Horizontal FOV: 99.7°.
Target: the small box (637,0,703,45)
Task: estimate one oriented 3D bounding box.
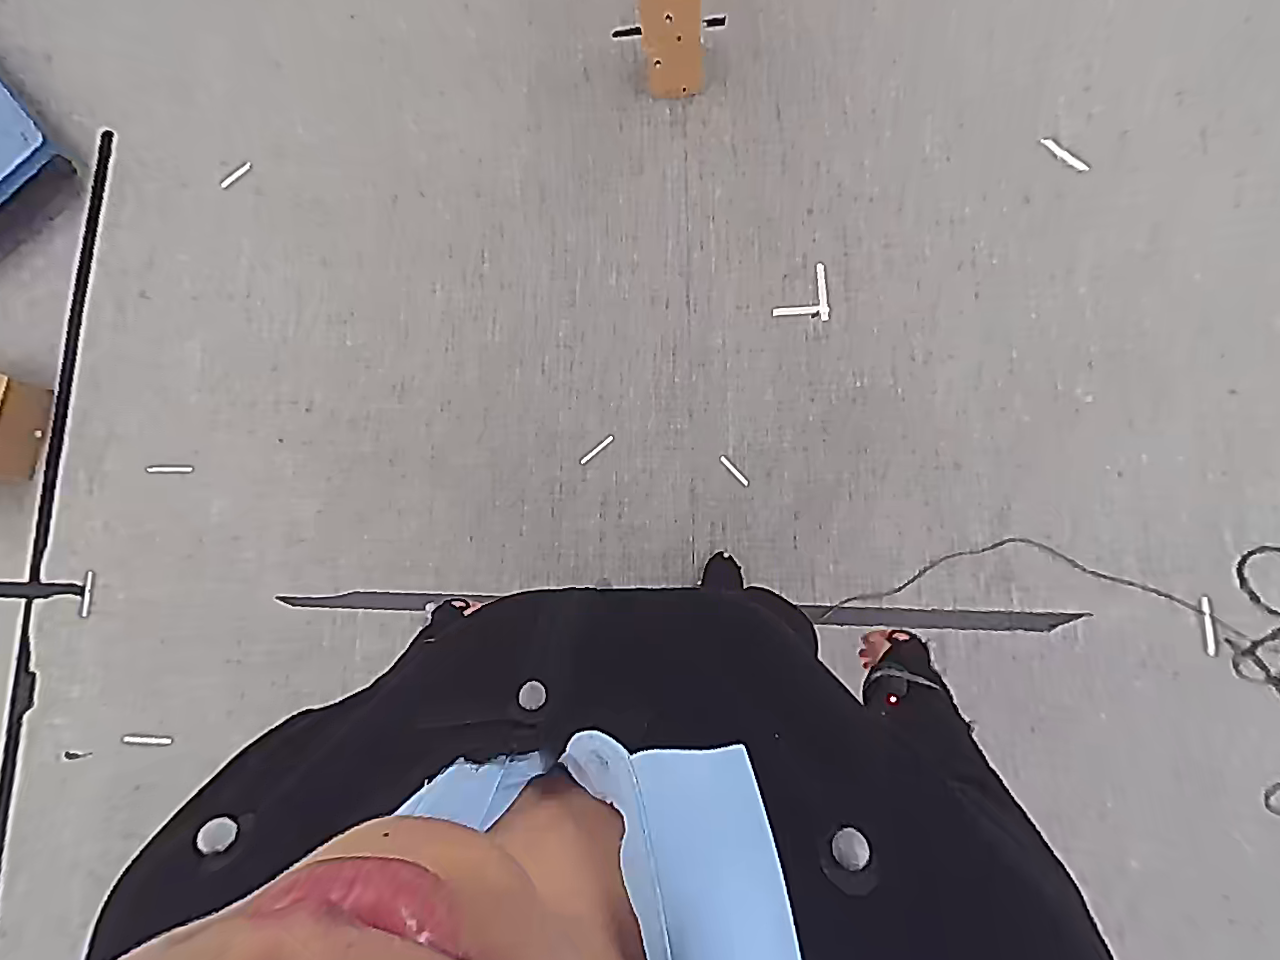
[{"bbox_3d":[0.087,-1.333,1.476,0.168,0.176,0.179,4,81,6],"label":"small box"}]
